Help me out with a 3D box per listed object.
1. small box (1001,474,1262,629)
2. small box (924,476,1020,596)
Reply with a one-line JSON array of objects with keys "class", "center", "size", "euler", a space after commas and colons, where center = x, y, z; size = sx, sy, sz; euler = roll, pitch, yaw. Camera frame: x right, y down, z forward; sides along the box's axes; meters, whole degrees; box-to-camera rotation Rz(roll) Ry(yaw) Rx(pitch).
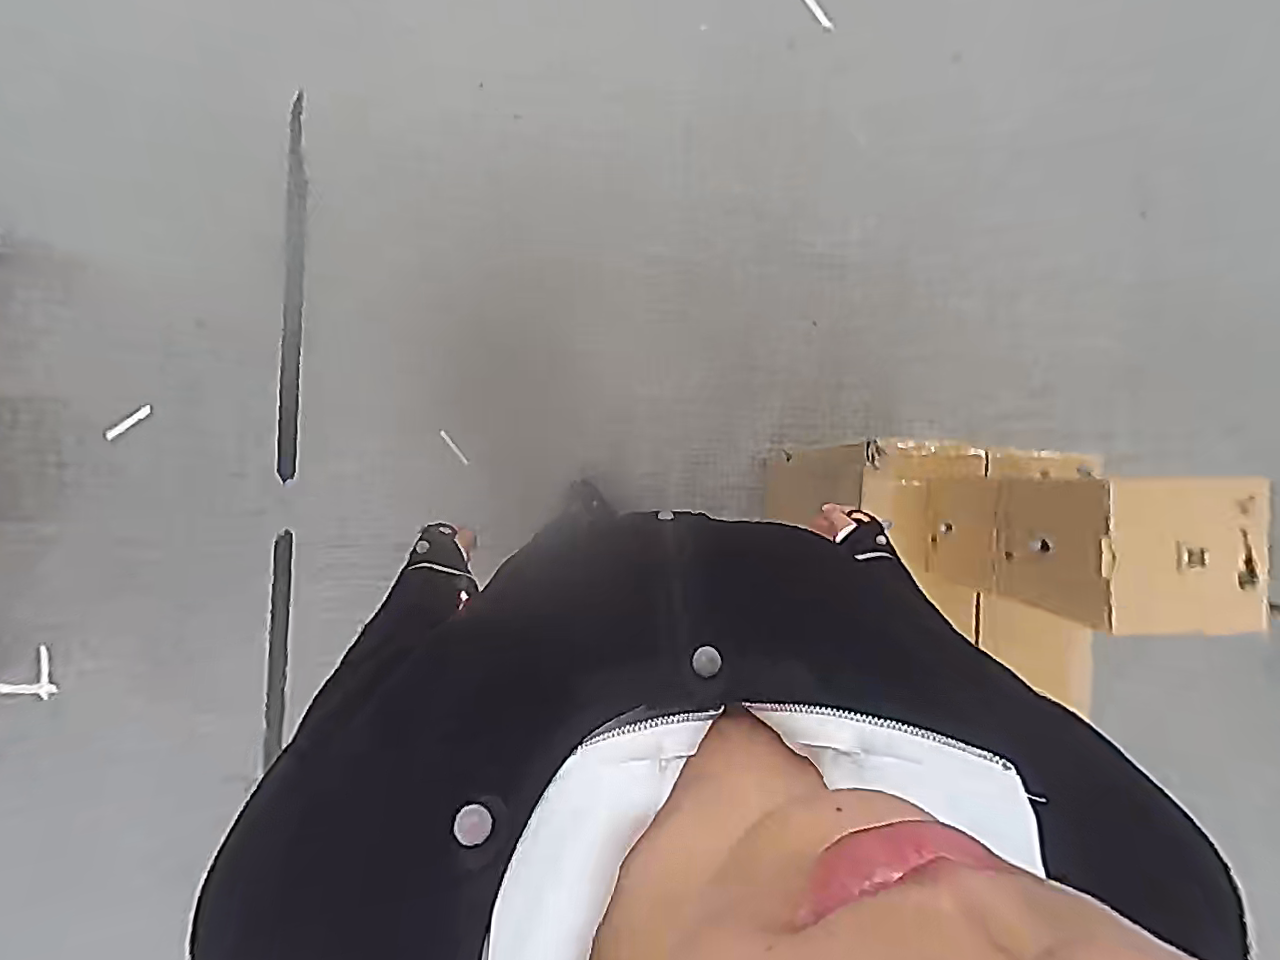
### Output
[{"class": "small box", "center": [0.570, 0.077, 0.652], "size": [0.179, 0.176, 0.168], "euler": [0, 90, -1]}, {"class": "small box", "center": [0.563, 0.078, 0.816], "size": [0.179, 0.176, 0.168], "euler": [1, 90, -1]}]
